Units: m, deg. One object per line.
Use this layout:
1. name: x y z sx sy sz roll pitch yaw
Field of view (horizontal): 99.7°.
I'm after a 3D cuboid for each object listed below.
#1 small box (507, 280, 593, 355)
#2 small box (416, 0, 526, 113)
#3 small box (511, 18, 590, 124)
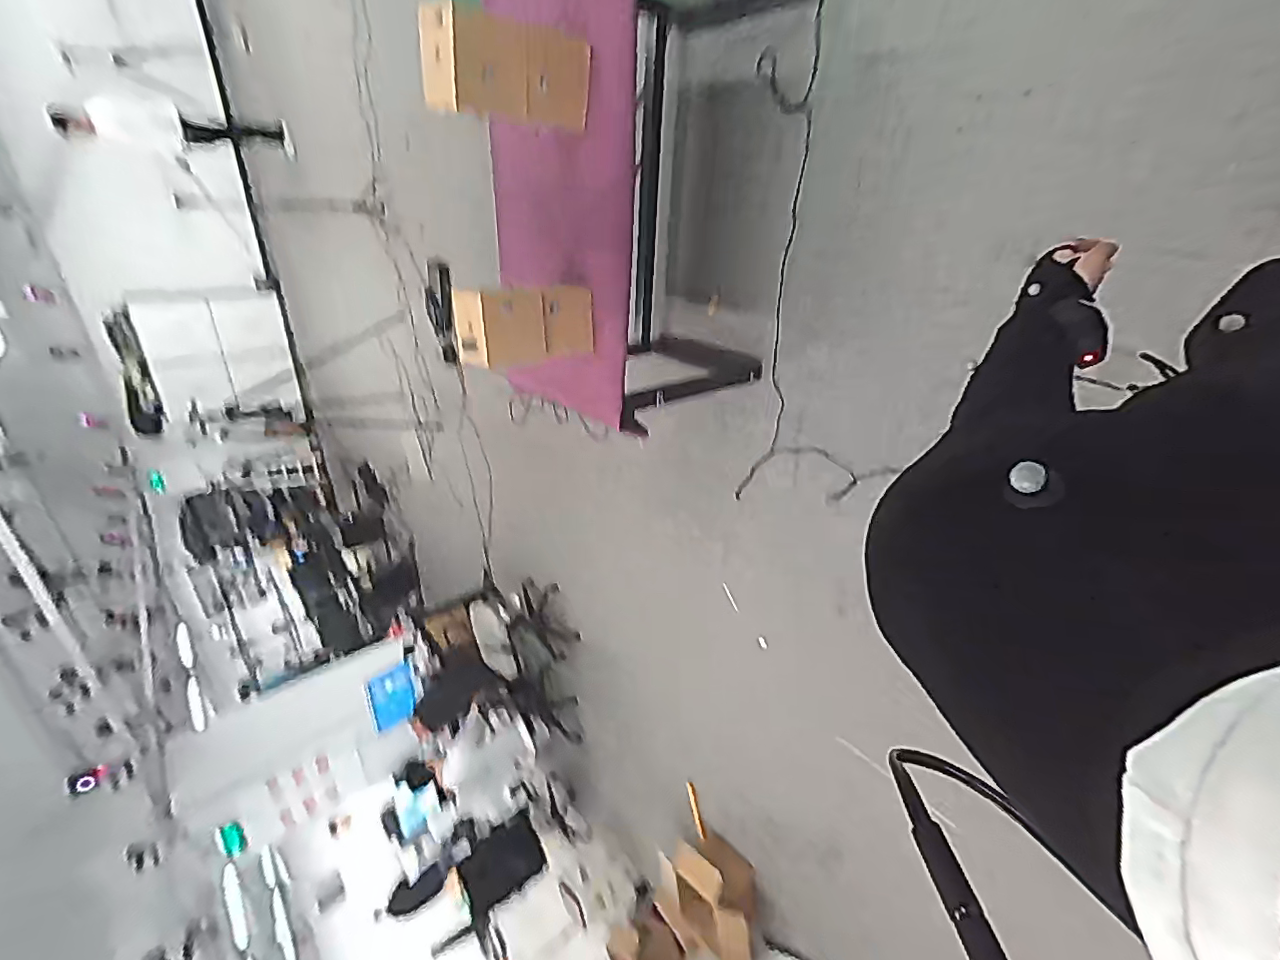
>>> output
1. small box: -0.244 -0.455 1.492 0.168 0.176 0.179 24 125 44
2. small box: -0.354 -0.898 1.152 0.168 0.176 0.179 36 133 35
3. small box: -0.232 -0.944 1.250 0.168 0.176 0.179 40 134 34
